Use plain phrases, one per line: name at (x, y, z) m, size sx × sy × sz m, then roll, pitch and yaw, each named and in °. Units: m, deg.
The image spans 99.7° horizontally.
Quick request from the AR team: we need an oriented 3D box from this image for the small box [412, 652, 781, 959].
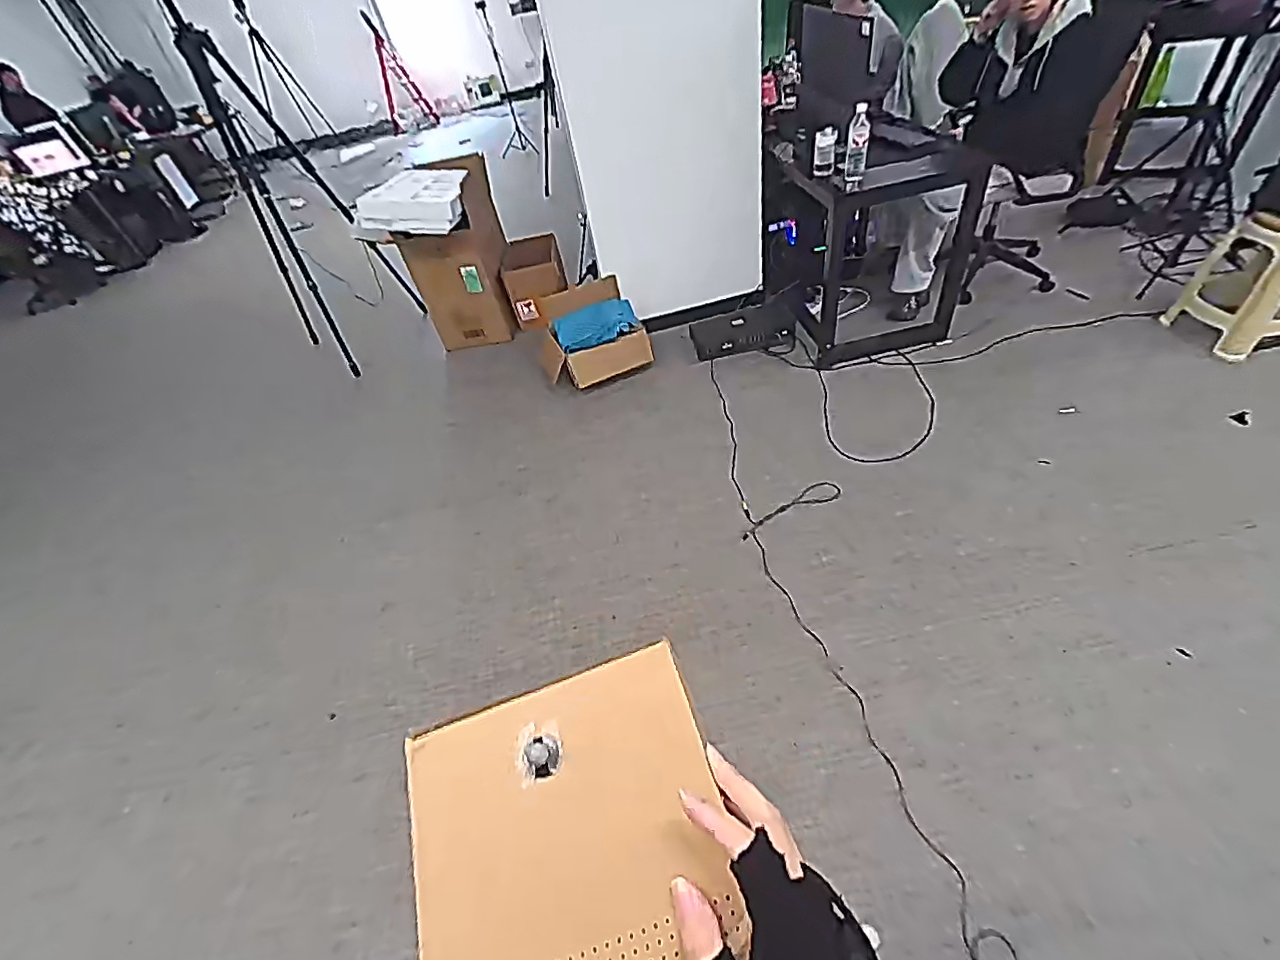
small box at (-0.024, 0.243, 0.361) m, size 0.179 × 0.168 × 0.176 m, roll -20°, pitch 57°, yaw -1°
